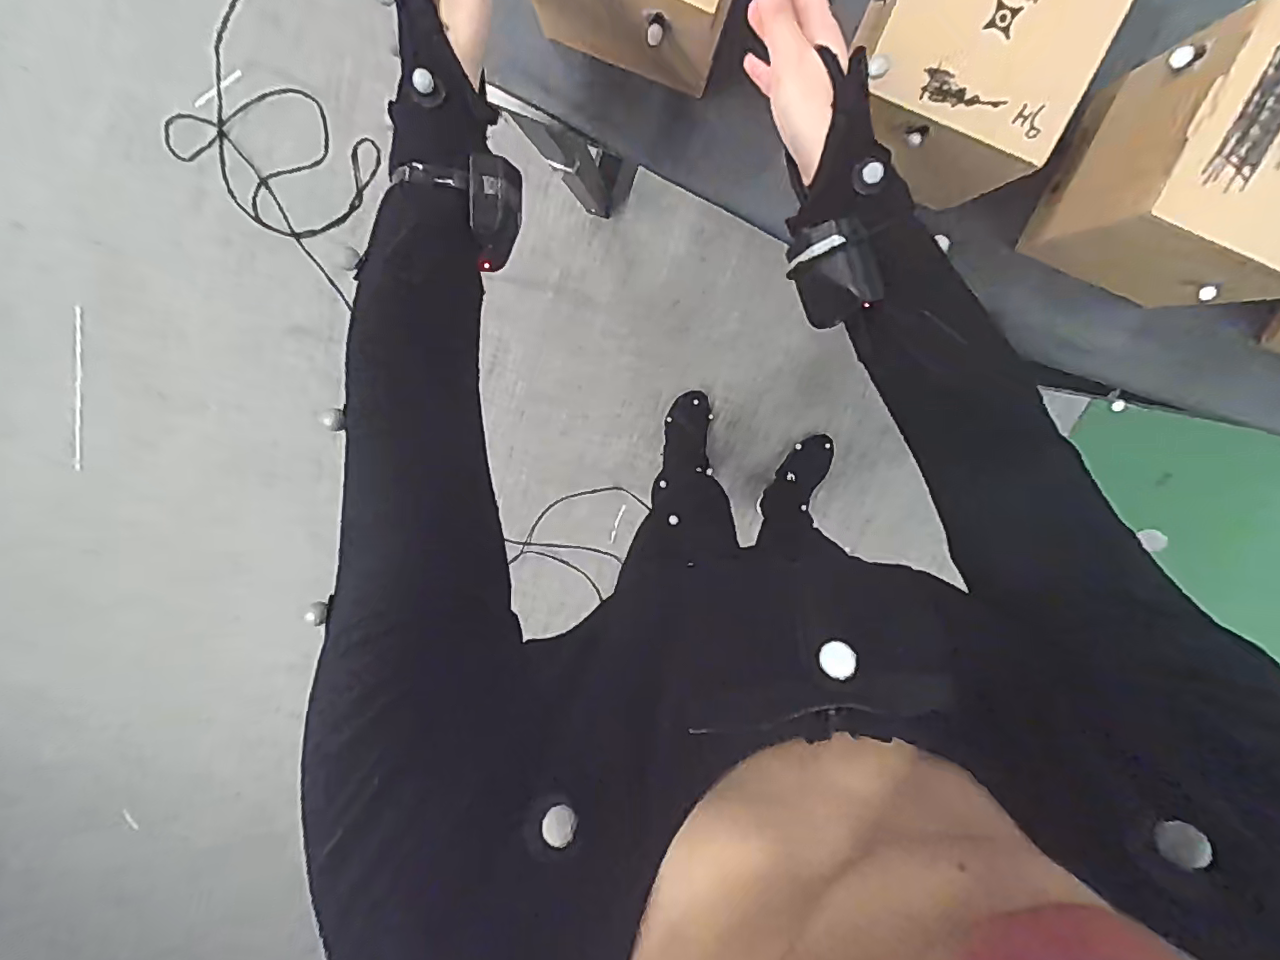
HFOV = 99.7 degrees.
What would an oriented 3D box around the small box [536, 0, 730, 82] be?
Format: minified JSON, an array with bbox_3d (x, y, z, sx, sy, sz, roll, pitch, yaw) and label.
[{"bbox_3d":[0.006,-0.486,0.466,0.179,0.176,0.168,20,106,-3],"label":"small box"}]
